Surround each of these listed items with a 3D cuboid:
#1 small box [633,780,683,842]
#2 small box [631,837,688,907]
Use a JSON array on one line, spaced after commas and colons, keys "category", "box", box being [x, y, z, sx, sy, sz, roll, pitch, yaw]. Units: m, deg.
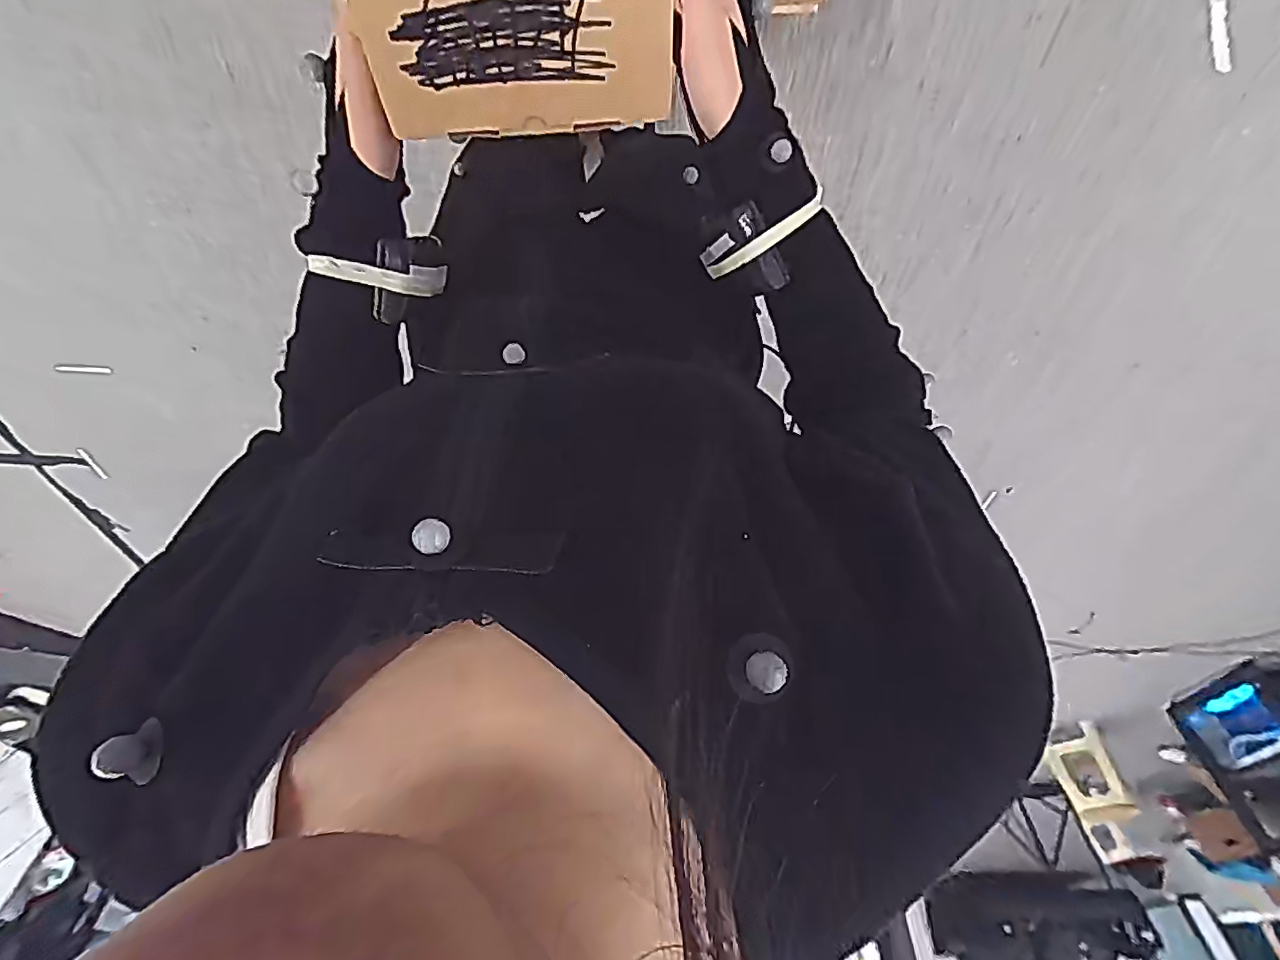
[{"category": "small box", "box": [0.059, 1.171, 1.892, 0.168, 0.176, 0.179, 0, 135, -1]}, {"category": "small box", "box": [0.061, 1.287, 1.779, 0.179, 0.176, 0.168, -1, 137, 0]}]
